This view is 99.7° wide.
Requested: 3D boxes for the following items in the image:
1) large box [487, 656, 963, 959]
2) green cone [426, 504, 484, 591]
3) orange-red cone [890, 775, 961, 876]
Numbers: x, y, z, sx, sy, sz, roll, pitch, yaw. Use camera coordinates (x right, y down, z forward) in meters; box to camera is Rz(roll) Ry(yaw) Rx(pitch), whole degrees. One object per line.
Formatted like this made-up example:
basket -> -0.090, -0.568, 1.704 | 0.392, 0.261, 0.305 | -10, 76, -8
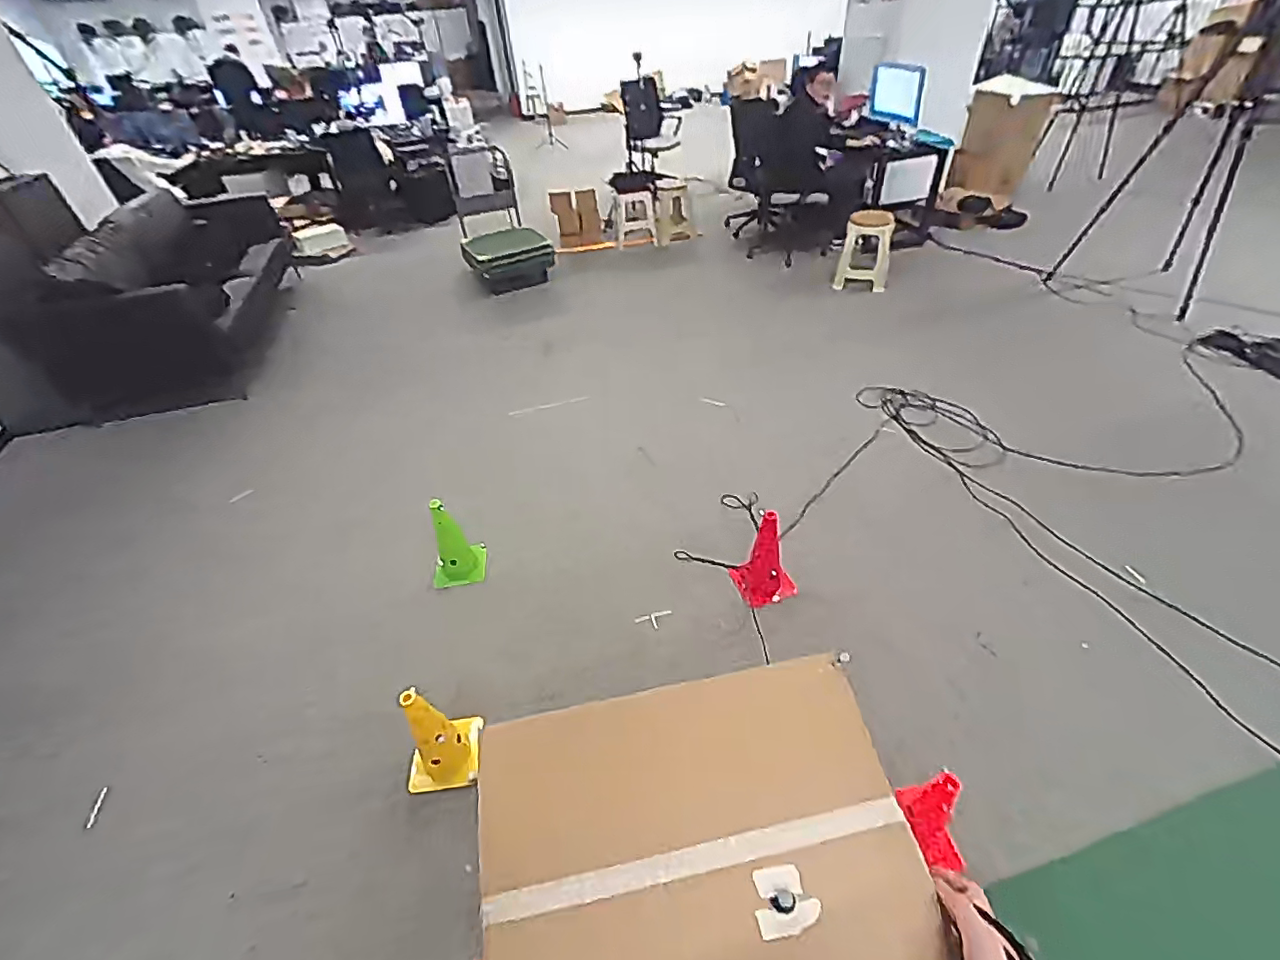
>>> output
large box -> 0.063, 0.447, 0.635 | 0.408, 0.320, 0.320 | -10, 56, -6
green cone -> -0.746, 0.228, 2.070 | 0.200, 0.368, 0.202 | -10, 43, -5
orange-red cone -> 0.685, 0.786, 1.288 | 0.199, 0.360, 0.198 | -8, 42, -5
